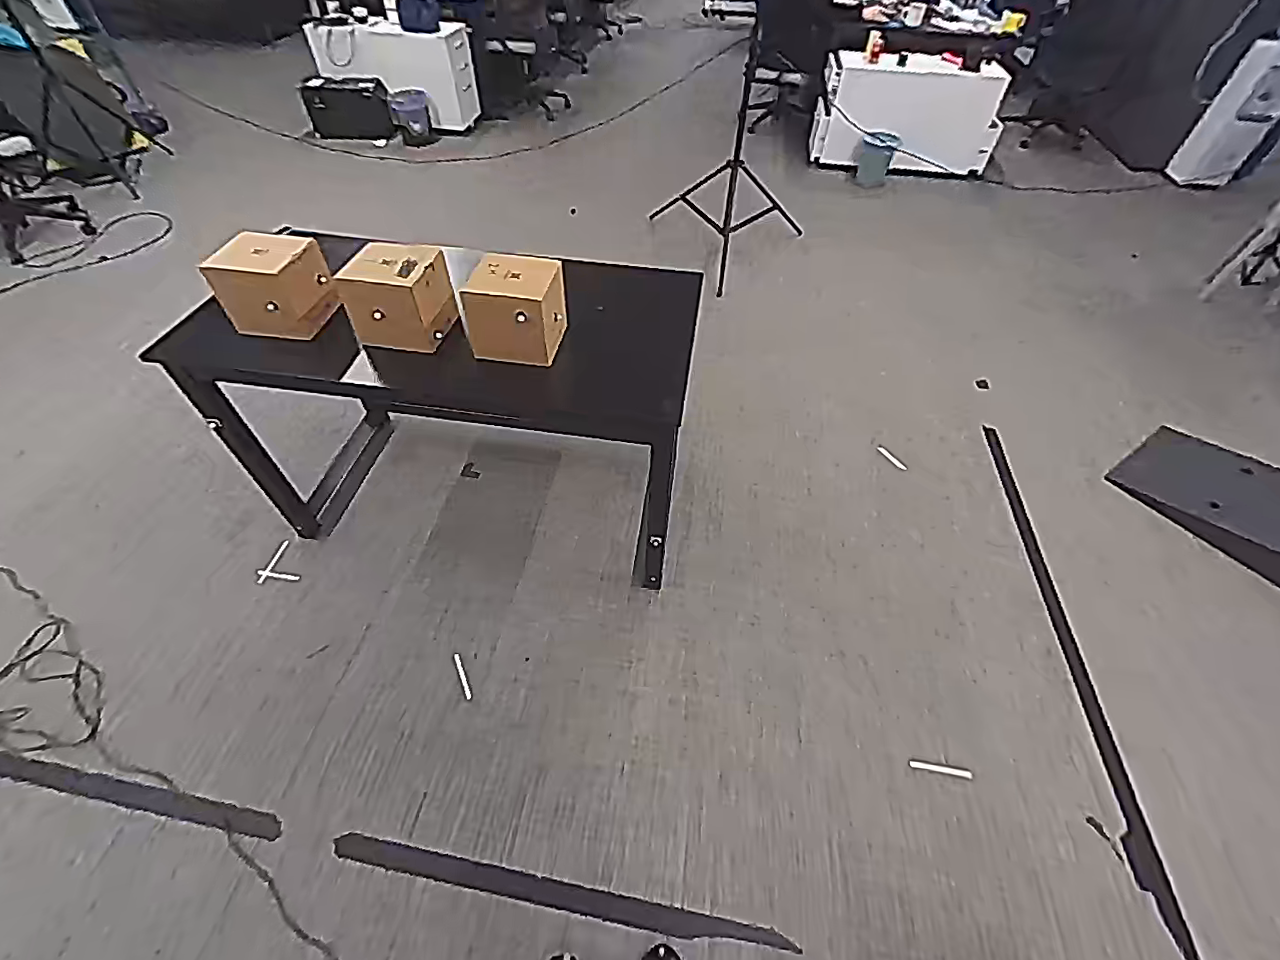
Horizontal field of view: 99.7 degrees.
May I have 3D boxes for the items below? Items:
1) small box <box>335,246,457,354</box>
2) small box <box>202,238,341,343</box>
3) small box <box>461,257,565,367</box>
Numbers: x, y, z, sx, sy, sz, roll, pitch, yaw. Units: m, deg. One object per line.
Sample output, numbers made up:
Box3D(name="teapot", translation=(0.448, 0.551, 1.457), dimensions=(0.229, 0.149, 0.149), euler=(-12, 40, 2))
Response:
Box3D(name="small box", translation=(-0.538, -0.404, 1.227), dimensions=(0.179, 0.176, 0.168), euler=(7, 50, 6))
Box3D(name="small box", translation=(-0.831, -0.434, 1.245), dimensions=(0.179, 0.176, 0.168), euler=(5, 49, 3))
Box3D(name="small box", translation=(-0.271, -0.370, 1.204), dimensions=(0.179, 0.176, 0.168), euler=(7, 49, 4))
